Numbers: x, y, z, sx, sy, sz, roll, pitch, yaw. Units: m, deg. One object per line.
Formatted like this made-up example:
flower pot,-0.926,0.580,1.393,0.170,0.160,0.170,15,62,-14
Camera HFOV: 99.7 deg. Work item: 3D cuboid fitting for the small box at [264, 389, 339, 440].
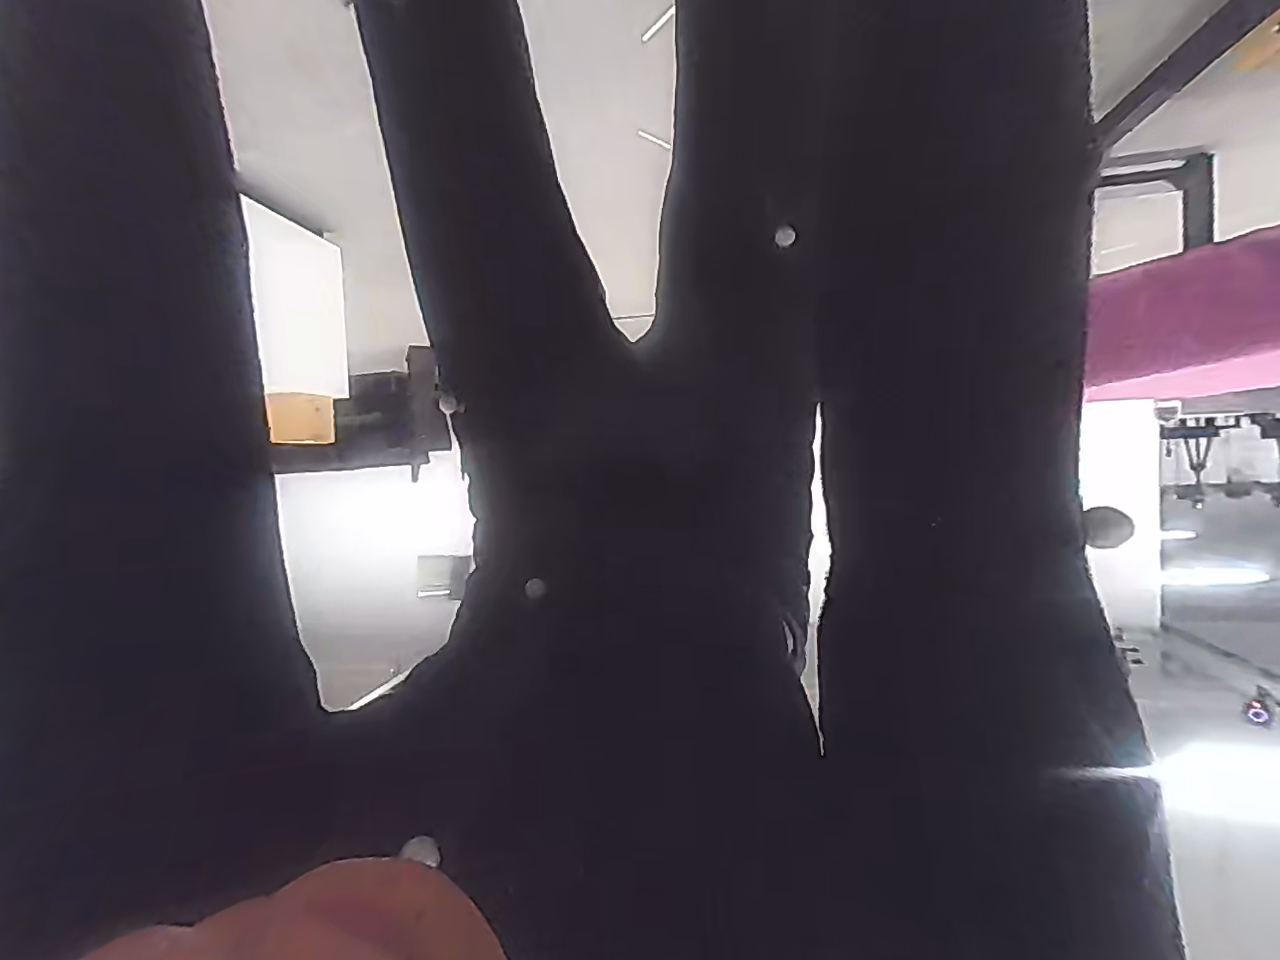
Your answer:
small box,-1.228,-0.235,1.965,0.179,0.176,0.168,-1,-177,10
